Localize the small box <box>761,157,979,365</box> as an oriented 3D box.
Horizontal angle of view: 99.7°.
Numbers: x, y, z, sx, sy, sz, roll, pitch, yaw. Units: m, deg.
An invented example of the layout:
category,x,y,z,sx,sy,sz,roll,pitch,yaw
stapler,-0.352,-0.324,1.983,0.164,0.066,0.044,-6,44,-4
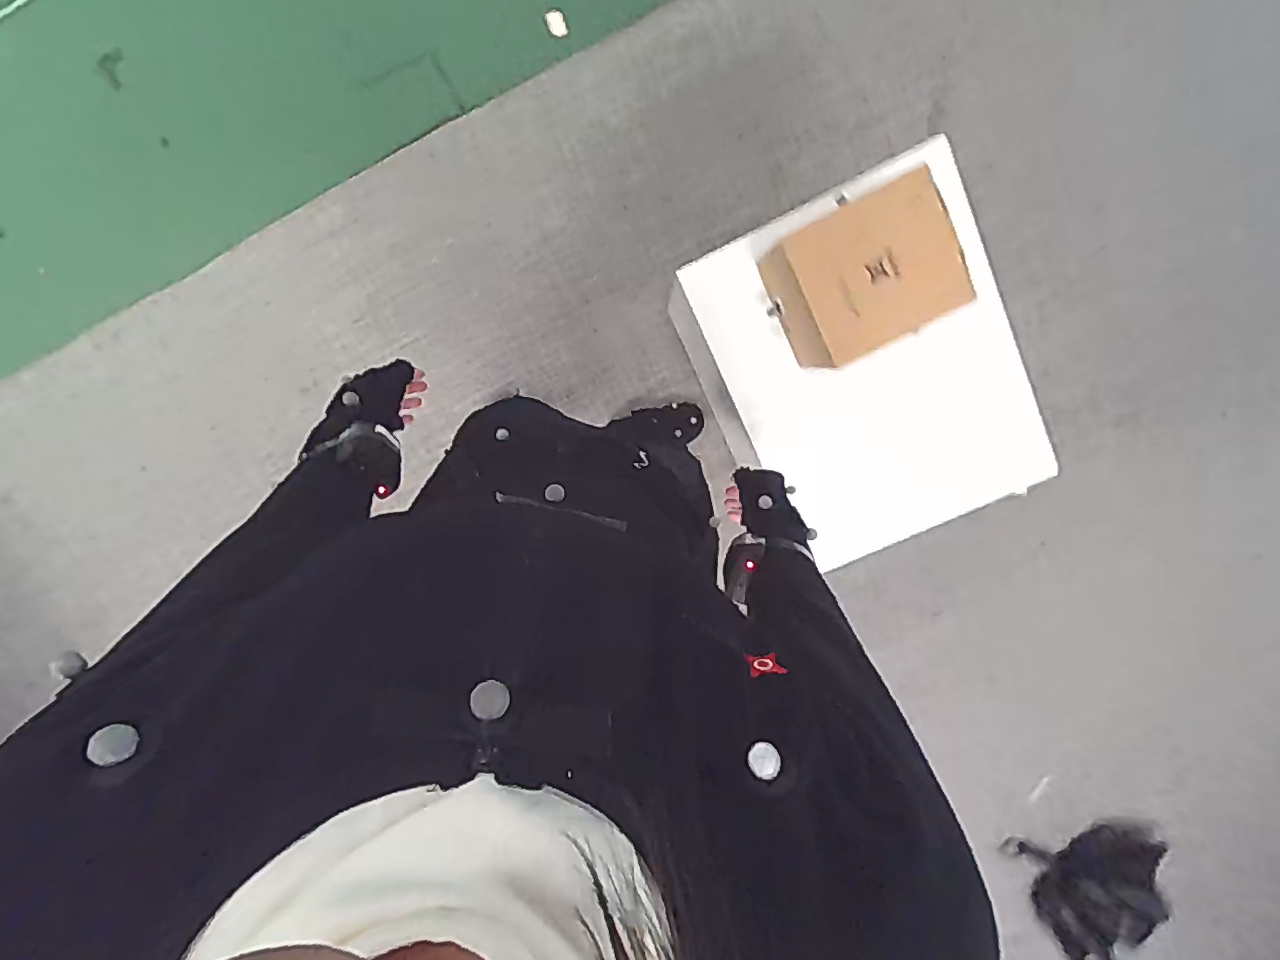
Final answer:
category,x,y,z,sx,sy,sz,roll,pitch,yaw
small box,0.274,-0.261,0.683,0.179,0.176,0.168,-26,100,9
